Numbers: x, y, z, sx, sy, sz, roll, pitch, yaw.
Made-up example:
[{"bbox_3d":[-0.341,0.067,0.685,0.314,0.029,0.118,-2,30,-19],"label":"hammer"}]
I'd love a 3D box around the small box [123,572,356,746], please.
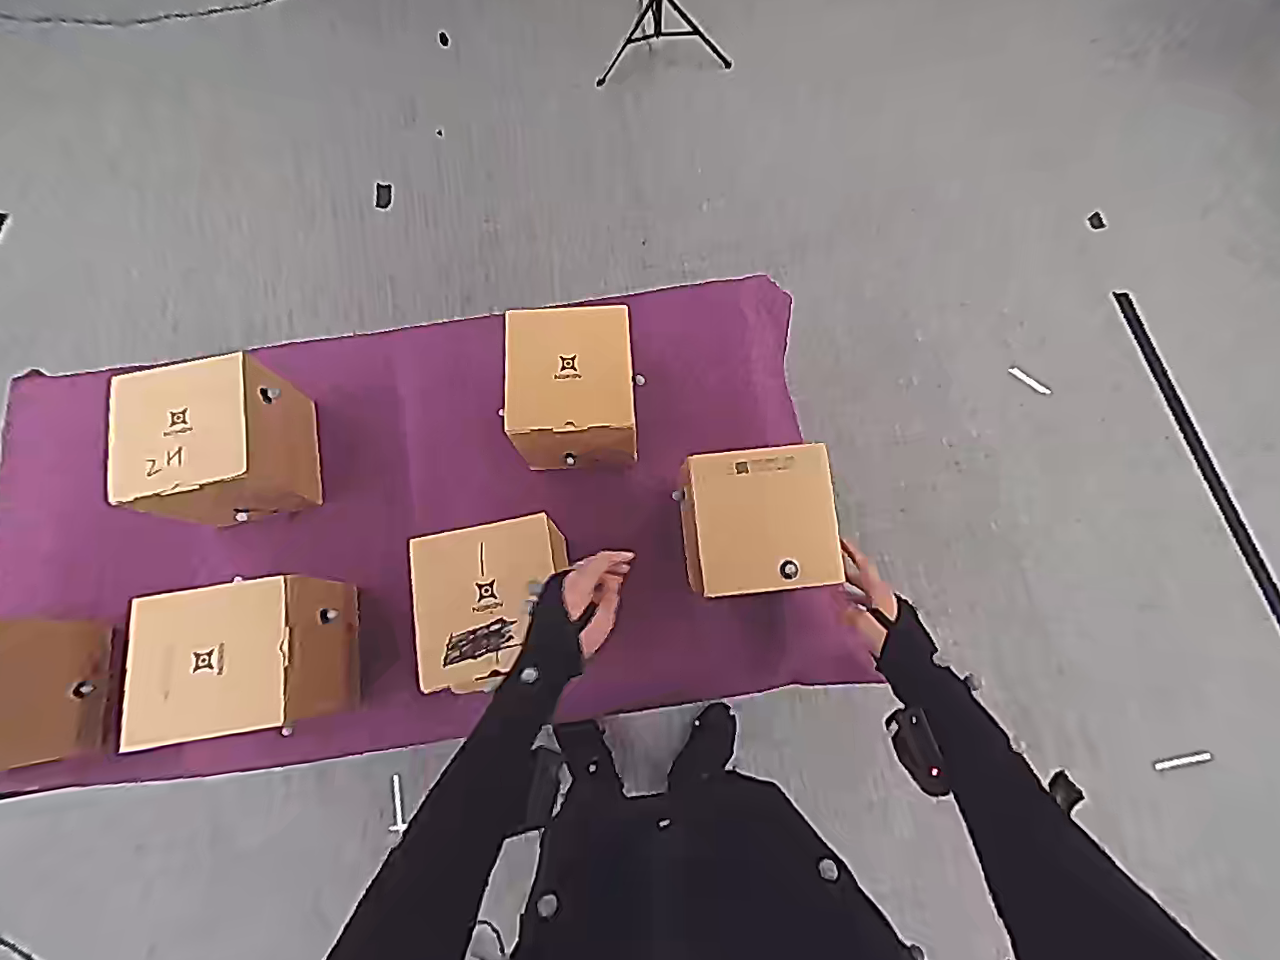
[{"bbox_3d":[-0.479,0.217,0.678,0.179,0.176,0.168,-9,73,-4],"label":"small box"}]

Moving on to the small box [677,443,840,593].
[{"bbox_3d":[0.142,0.049,0.711,0.168,0.179,0.176,-6,84,-1],"label":"small box"}]

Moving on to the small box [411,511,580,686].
[{"bbox_3d":[-0.176,0.154,0.698,0.168,0.176,0.179,-11,73,-3],"label":"small box"}]

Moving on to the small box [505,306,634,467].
[{"bbox_3d":[-0.095,-0.129,0.785,0.168,0.176,0.179,-3,75,-1],"label":"small box"}]

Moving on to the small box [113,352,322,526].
[{"bbox_3d":[-0.575,-0.049,0.758,0.168,0.176,0.179,-13,74,-4],"label":"small box"}]
